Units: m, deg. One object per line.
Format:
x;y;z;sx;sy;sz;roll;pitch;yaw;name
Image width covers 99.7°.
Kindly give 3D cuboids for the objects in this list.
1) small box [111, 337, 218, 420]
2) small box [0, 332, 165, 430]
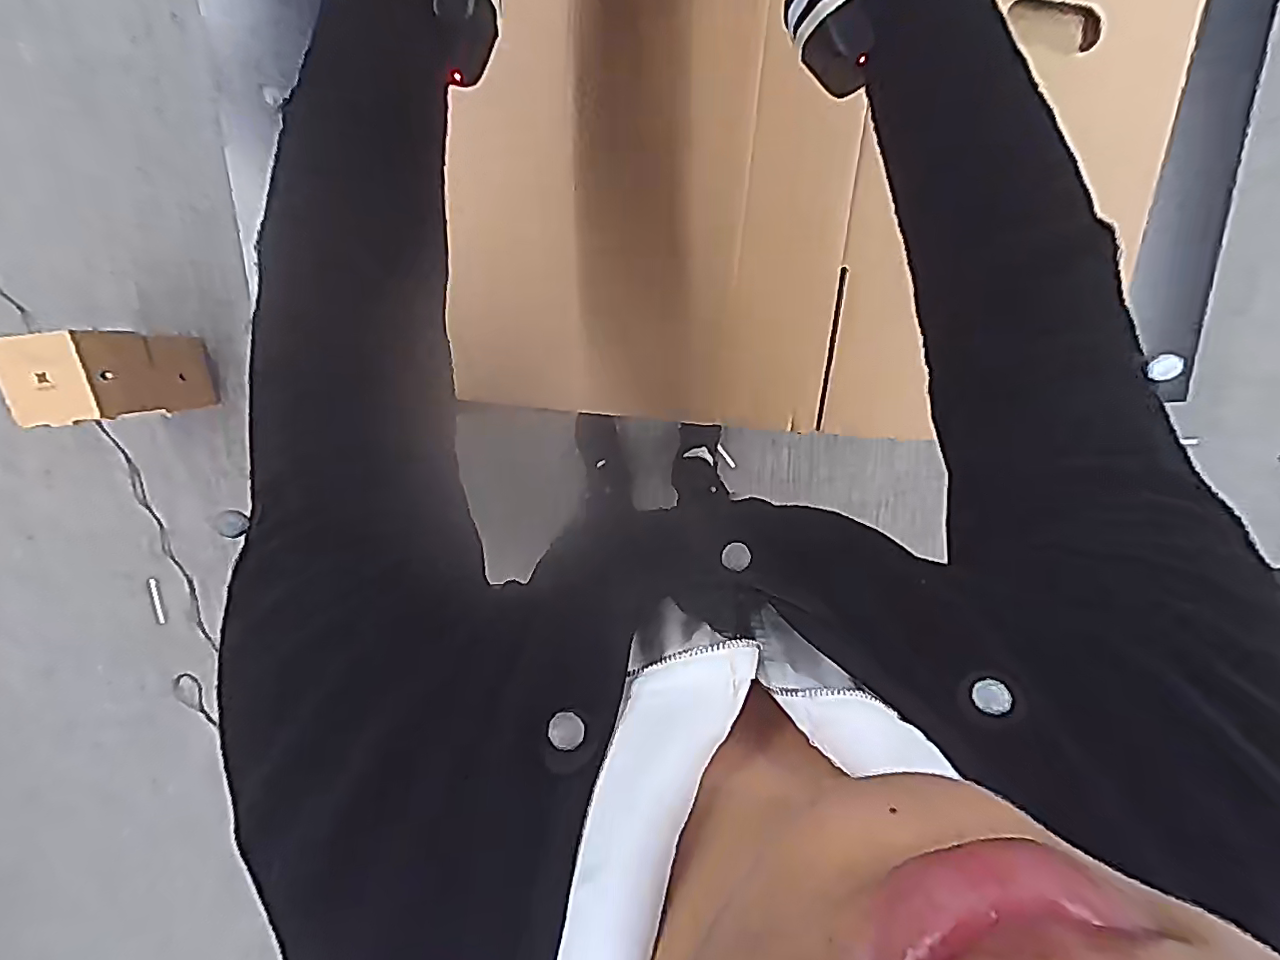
-1.165;-0.245;1.291;0.168;0.176;0.179;-5;105;-1;small box
-1.159;-0.211;1.131;0.168;0.176;0.179;-8;104;-1;small box
